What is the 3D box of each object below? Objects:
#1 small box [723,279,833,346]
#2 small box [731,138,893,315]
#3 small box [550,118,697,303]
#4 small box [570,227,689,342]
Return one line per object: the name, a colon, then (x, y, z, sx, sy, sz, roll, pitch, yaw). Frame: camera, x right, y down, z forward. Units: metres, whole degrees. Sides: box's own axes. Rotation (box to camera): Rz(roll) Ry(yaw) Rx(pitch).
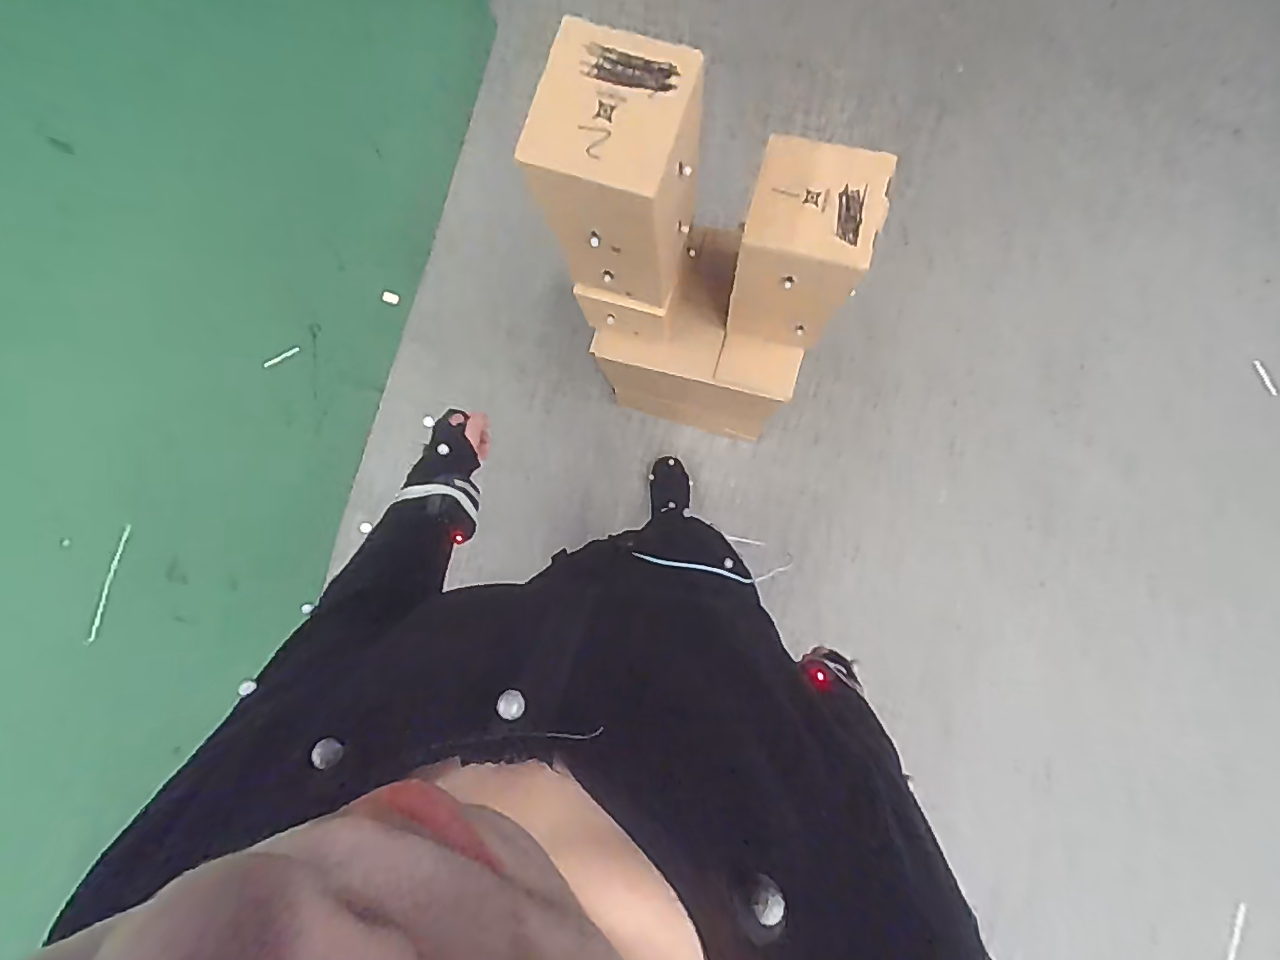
small box: (0.257, -0.357, 0.978, 0.179, 0.176, 0.168, 15, 87, 6)
small box: (0.246, -0.367, 0.815, 0.179, 0.176, 0.168, 16, 87, 7)
small box: (-0.018, -0.399, 0.833, 0.168, 0.176, 0.179, 19, 88, 4)
small box: (-0.012, -0.376, 0.996, 0.168, 0.176, 0.179, 17, 88, 4)
